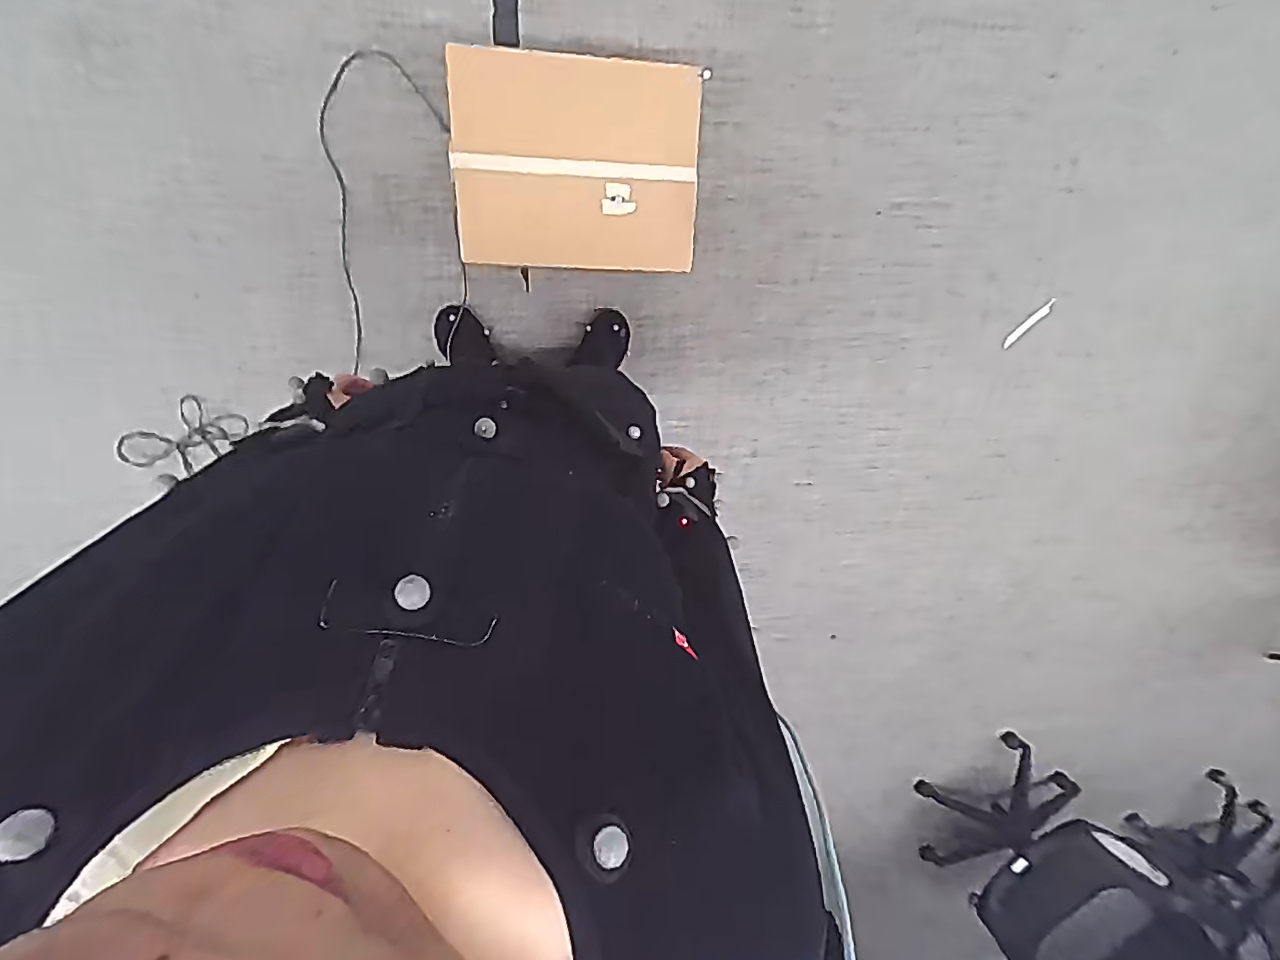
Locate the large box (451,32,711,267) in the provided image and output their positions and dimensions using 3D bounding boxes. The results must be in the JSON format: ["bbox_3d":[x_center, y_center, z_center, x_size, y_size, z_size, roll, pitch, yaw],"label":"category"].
[{"bbox_3d":[-0.110,-0.571,1.012,0.408,0.320,0.320,-1,111,-9],"label":"large box"}]
